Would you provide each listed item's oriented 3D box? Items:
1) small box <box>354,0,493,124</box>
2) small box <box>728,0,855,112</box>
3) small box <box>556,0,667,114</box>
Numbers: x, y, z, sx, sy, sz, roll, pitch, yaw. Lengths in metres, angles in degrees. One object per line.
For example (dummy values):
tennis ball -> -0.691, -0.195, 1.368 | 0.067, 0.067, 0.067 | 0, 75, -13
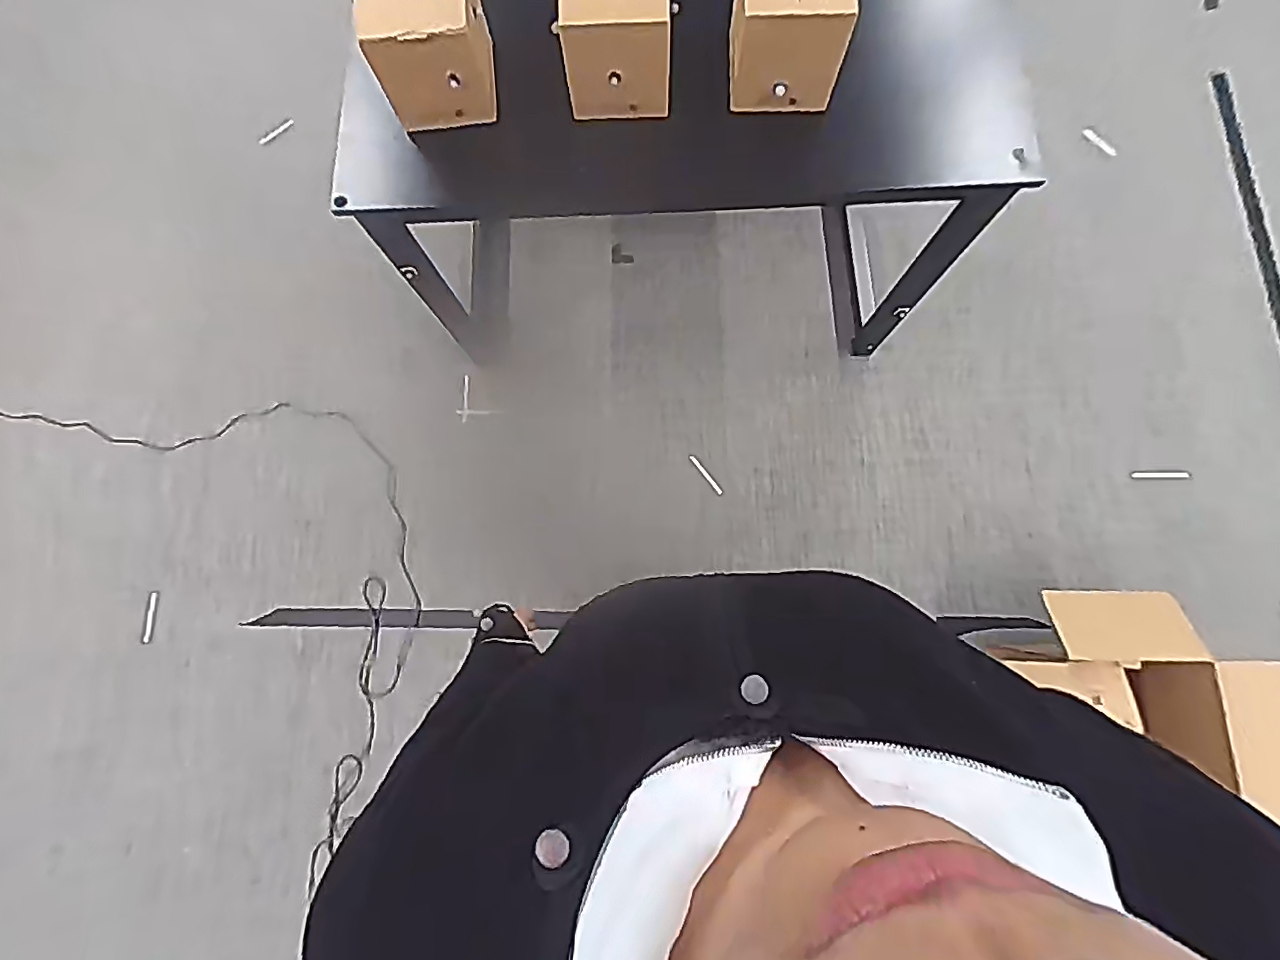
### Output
small box -> -0.347, -0.724, 0.893 | 0.168, 0.176, 0.179 | -6, 78, -1
small box -> 0.235, -0.743, 0.877 | 0.168, 0.176, 0.179 | 1, 79, 2
small box -> -0.039, -0.735, 0.884 | 0.168, 0.176, 0.179 | -1, 79, 1
